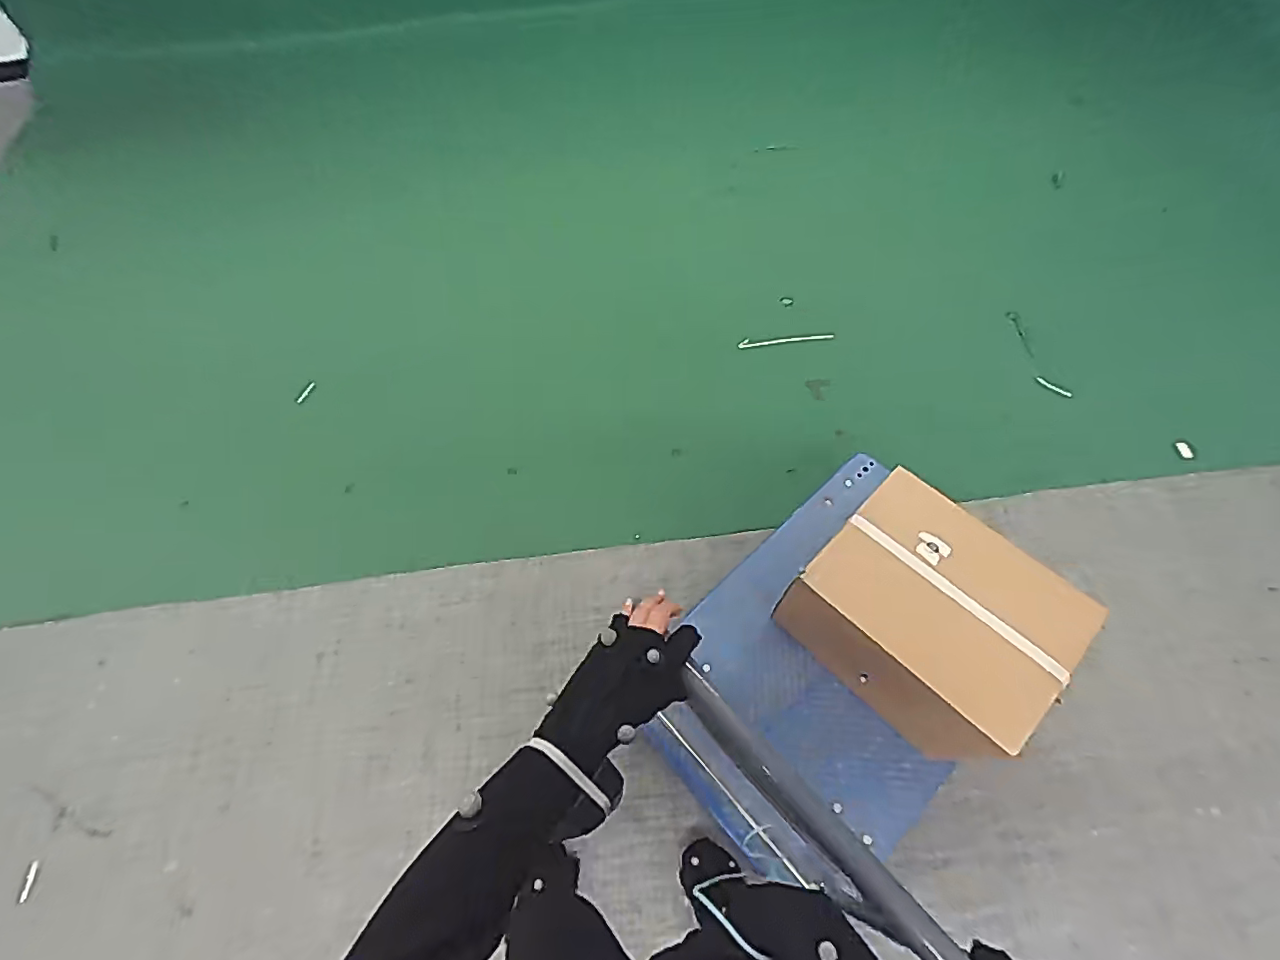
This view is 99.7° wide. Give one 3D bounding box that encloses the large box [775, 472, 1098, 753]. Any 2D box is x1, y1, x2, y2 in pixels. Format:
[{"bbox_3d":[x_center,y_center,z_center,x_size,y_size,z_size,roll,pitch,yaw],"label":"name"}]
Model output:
[{"bbox_3d":[0.538,0.267,1.066,0.320,0.320,0.408,-42,67,-18],"label":"large box"}]
